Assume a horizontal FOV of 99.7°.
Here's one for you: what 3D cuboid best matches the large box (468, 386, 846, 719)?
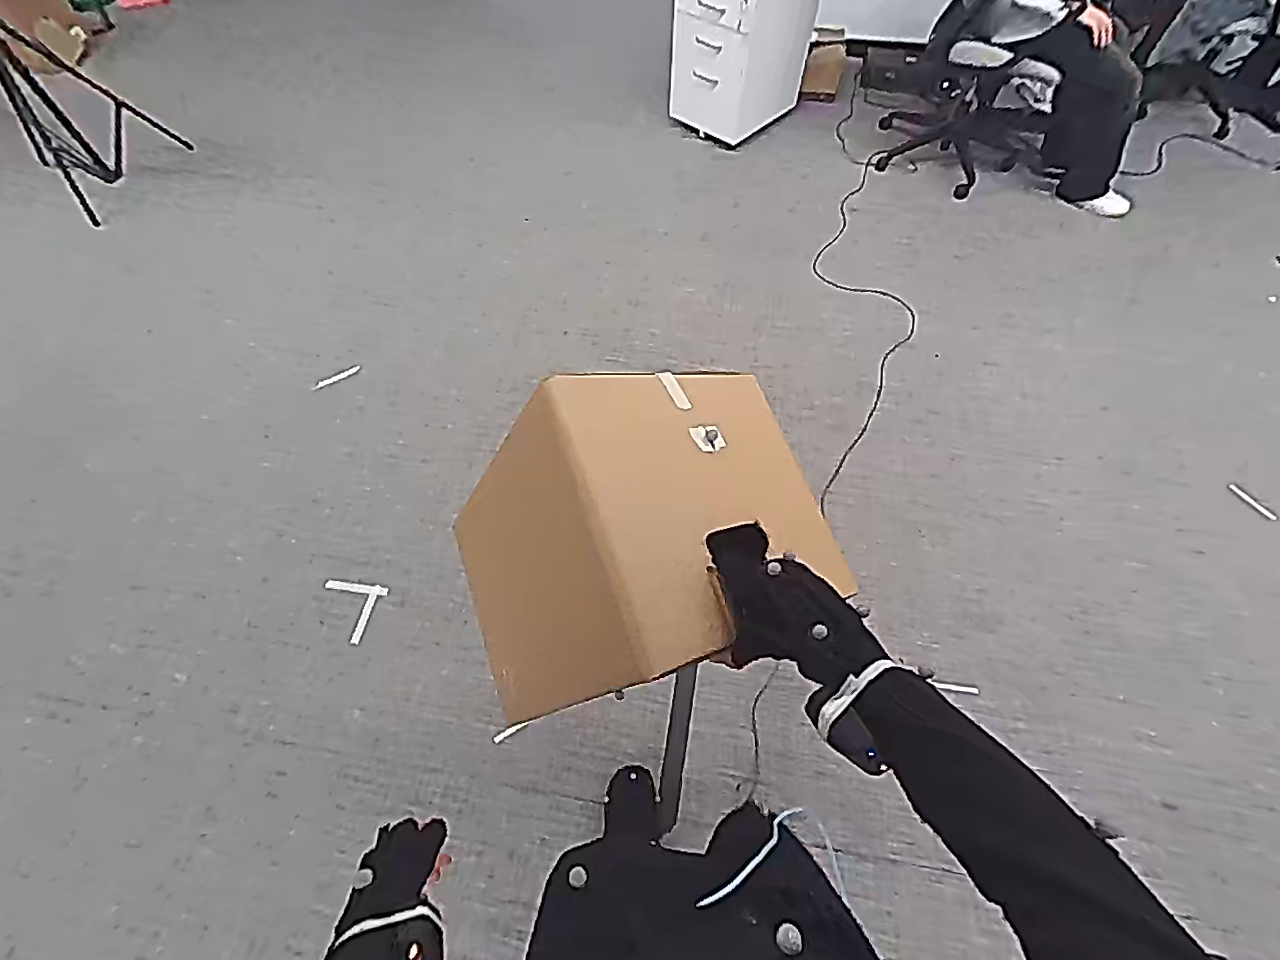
[{"bbox_3d":[-0.014,0.107,0.755,0.320,0.408,0.320,-7,68,-35],"label":"large box"}]
